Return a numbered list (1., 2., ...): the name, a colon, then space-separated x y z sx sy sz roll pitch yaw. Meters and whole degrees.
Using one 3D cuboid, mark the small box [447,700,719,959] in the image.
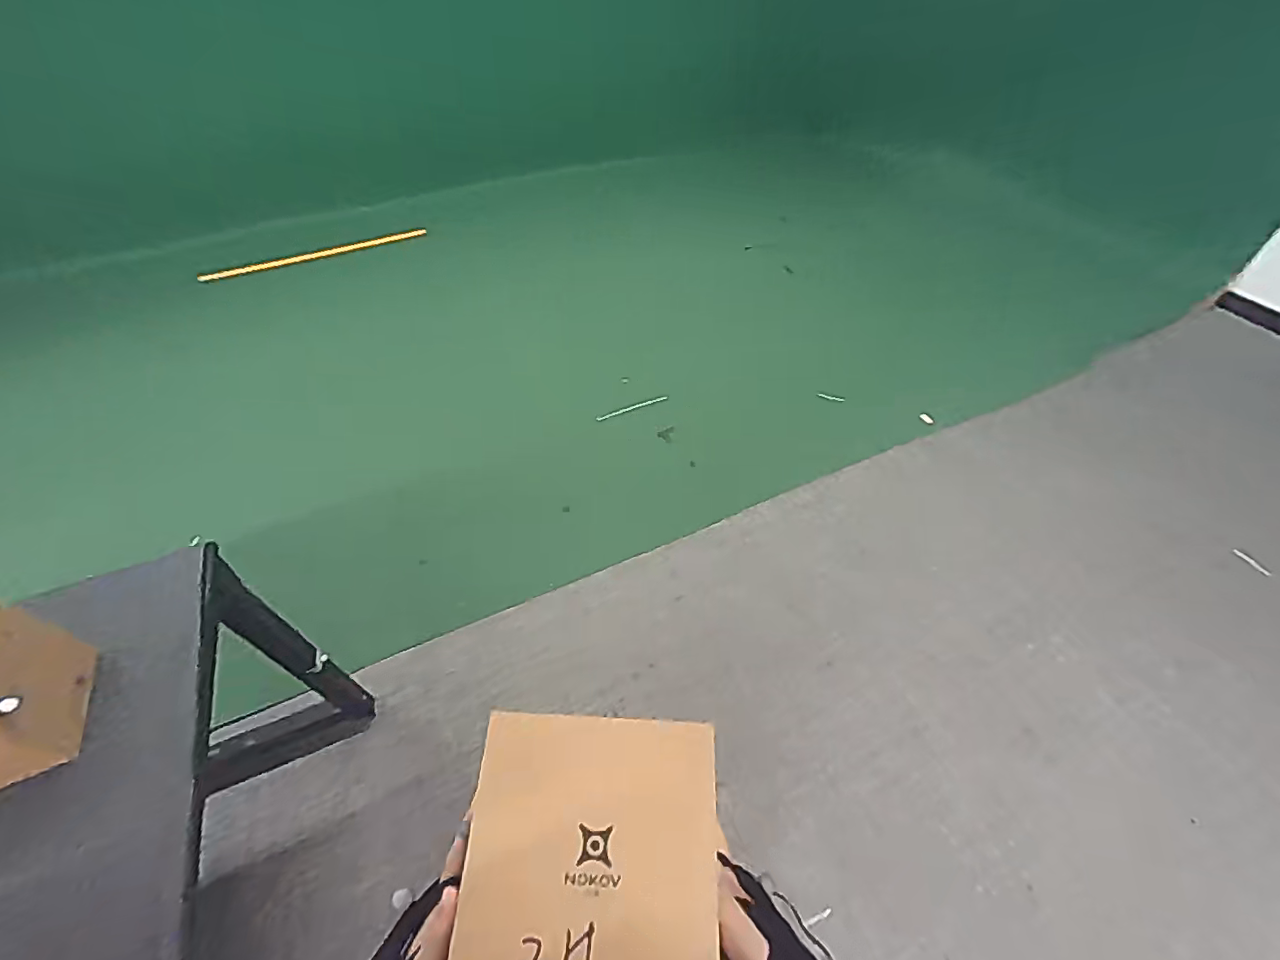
1. small box: -0.035 0.284 0.420 0.168 0.176 0.179 5 59 -1
